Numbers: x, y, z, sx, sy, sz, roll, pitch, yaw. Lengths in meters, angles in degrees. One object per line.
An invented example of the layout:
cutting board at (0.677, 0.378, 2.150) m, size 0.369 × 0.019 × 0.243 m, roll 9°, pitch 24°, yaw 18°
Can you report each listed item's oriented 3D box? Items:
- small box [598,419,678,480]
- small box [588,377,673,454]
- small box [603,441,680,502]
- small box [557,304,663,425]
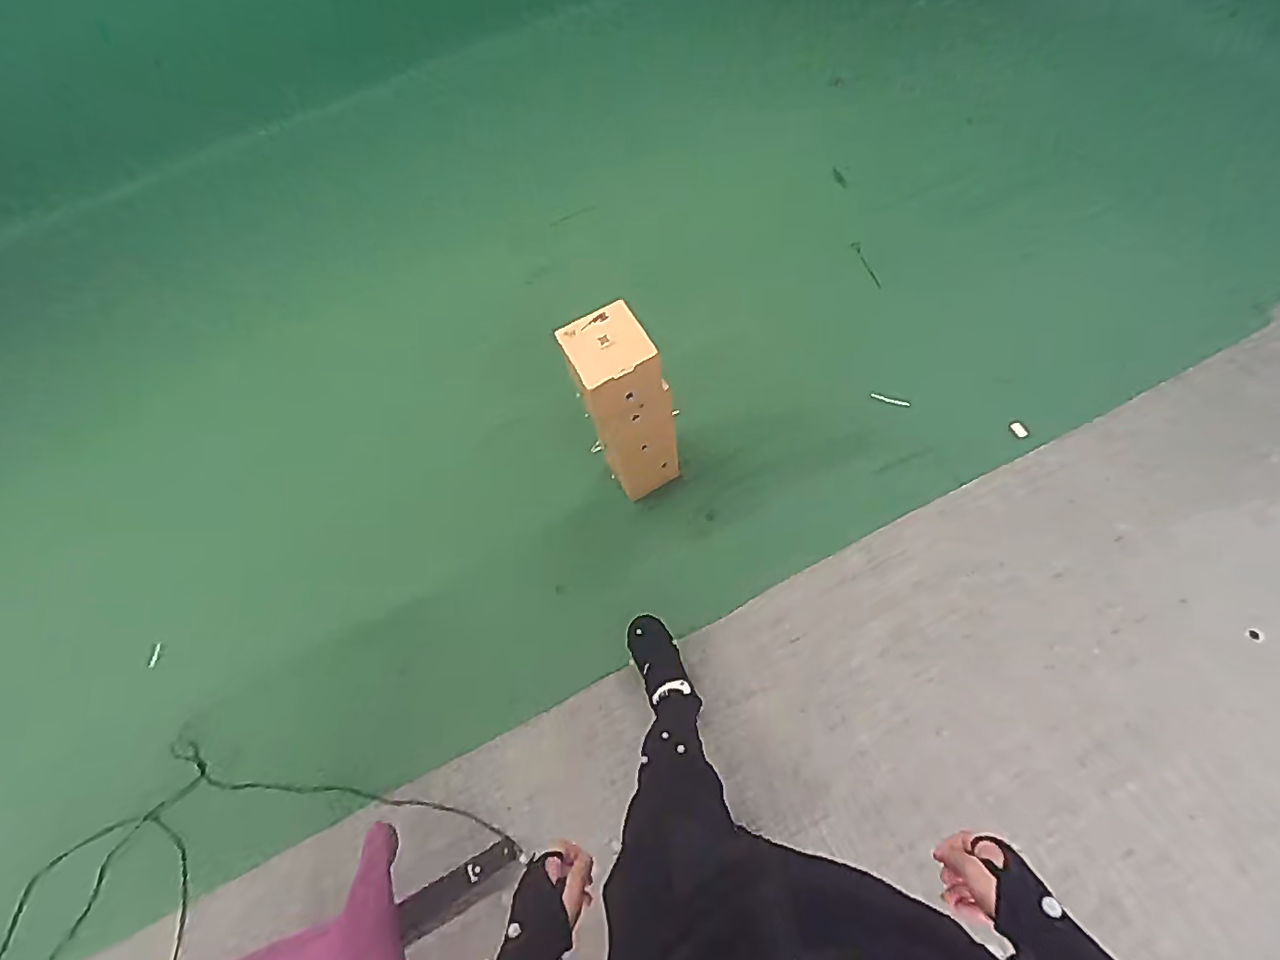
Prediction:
small box at (-0.008, -0.129, 1.500) m, size 0.179 × 0.176 × 0.168 m, roll -29°, pitch 65°, yaw -6°
small box at (-0.031, -0.193, 1.350) m, size 0.179 × 0.176 × 0.168 m, roll -31°, pitch 66°, yaw -8°
small box at (0.009, -0.062, 1.646) m, size 0.179 × 0.176 × 0.168 m, roll -30°, pitch 65°, yaw -7°
small box at (-0.058, -0.245, 1.196) m, size 0.168 × 0.176 × 0.179 m, roll -27°, pitch 66°, yaw -6°
